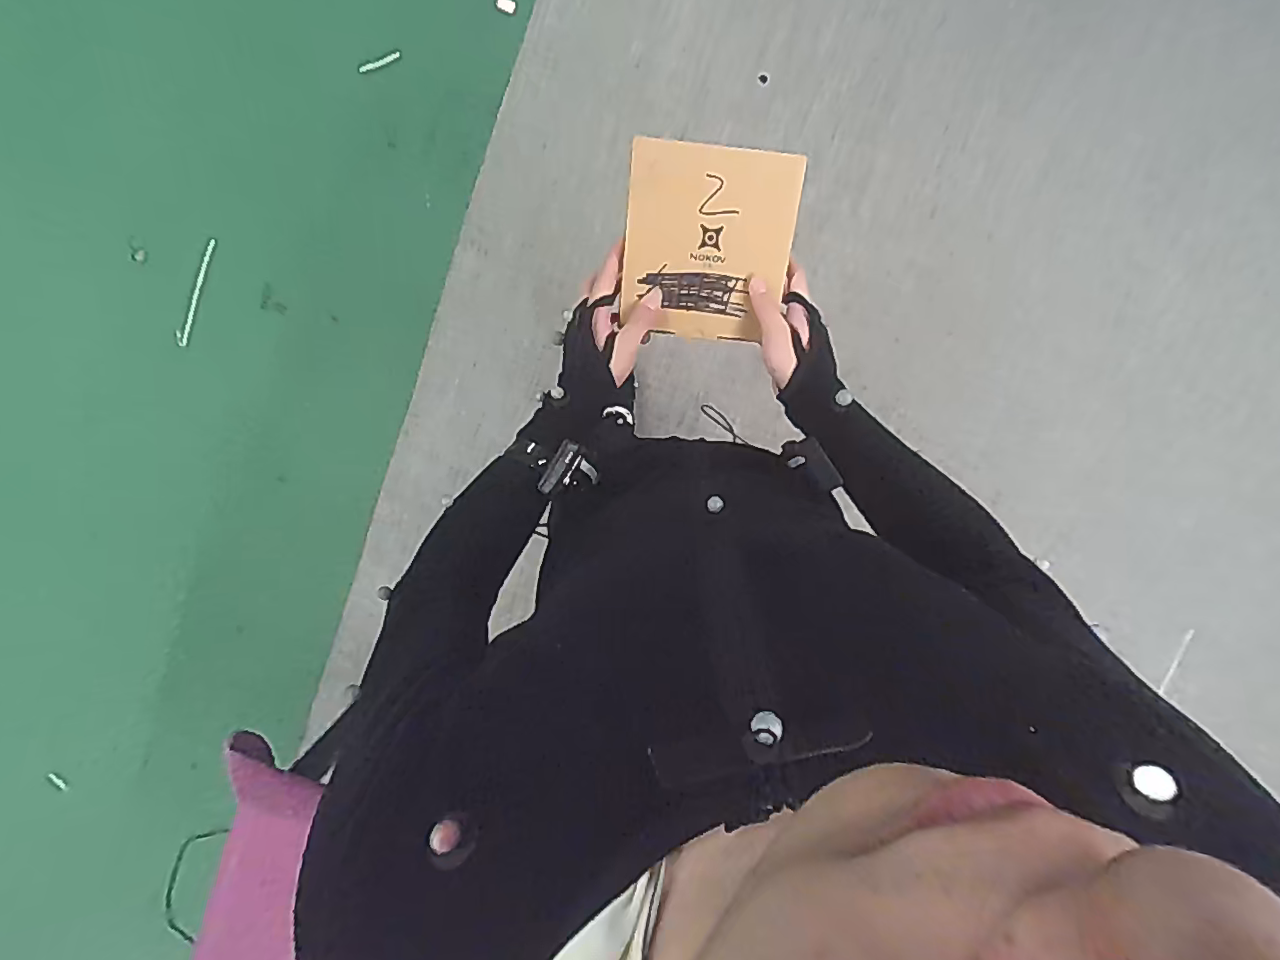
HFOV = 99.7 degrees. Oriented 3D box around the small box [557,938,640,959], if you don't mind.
[{"bbox_3d":[-0.089,0.951,0.922,0.168,0.176,0.179,19,96,-3],"label":"small box"}]
